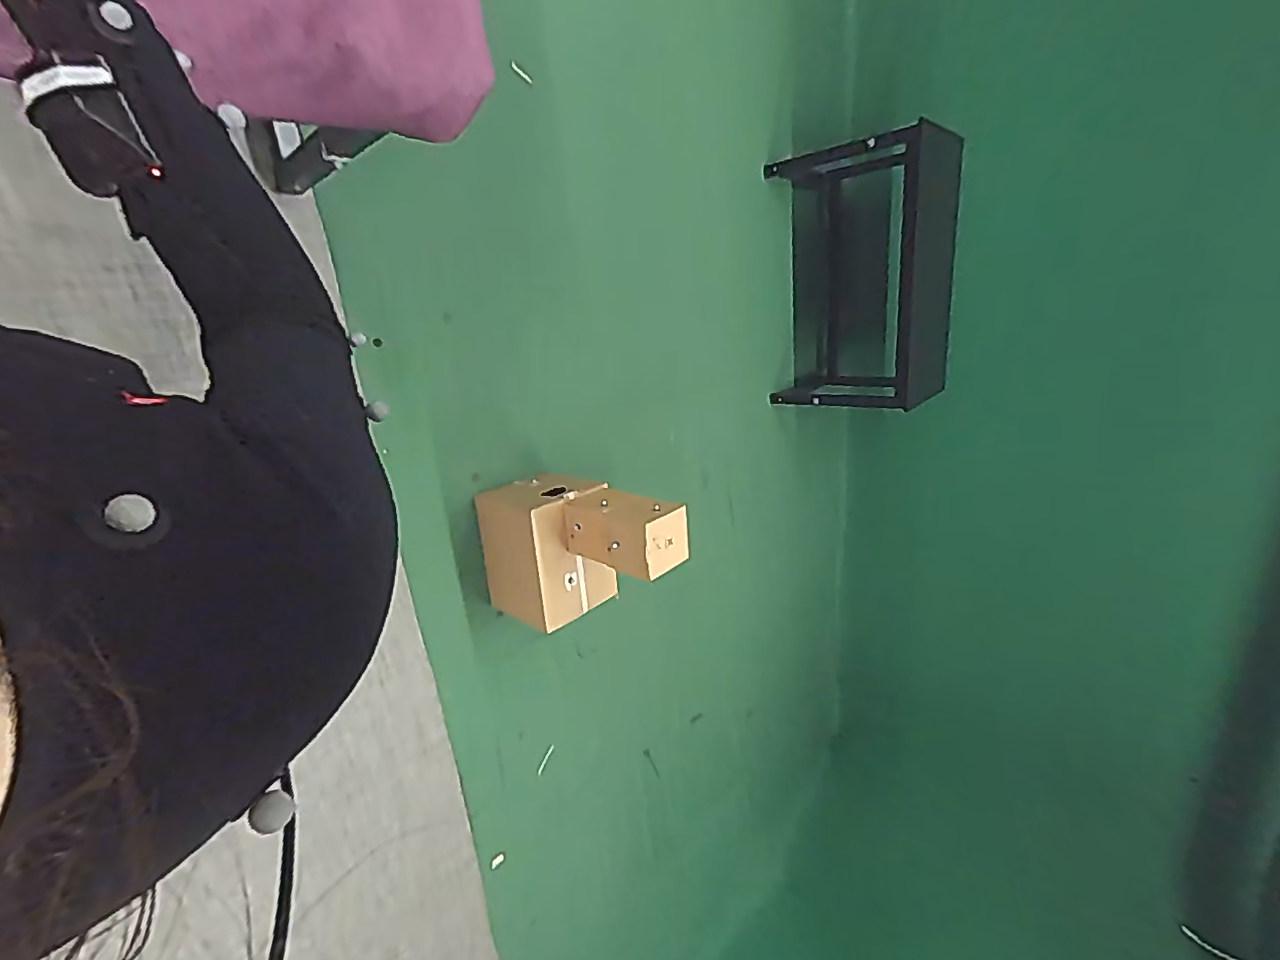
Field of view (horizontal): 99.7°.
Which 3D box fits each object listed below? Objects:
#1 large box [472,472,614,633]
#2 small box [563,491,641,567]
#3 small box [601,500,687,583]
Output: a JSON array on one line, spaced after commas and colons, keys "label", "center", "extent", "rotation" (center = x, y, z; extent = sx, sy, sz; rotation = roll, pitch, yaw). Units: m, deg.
[{"label": "large box", "center": [-0.315, 0.220, 1.785], "extent": [0.320, 0.320, 0.408], "rotation": [-20, 113, -44]}, {"label": "small box", "center": [-0.110, 0.139, 1.631], "extent": [0.179, 0.176, 0.168], "rotation": [-20, 113, -45]}, {"label": "small box", "center": [0.011, 0.164, 1.522], "extent": [0.179, 0.176, 0.168], "rotation": [-22, 114, -44]}]
